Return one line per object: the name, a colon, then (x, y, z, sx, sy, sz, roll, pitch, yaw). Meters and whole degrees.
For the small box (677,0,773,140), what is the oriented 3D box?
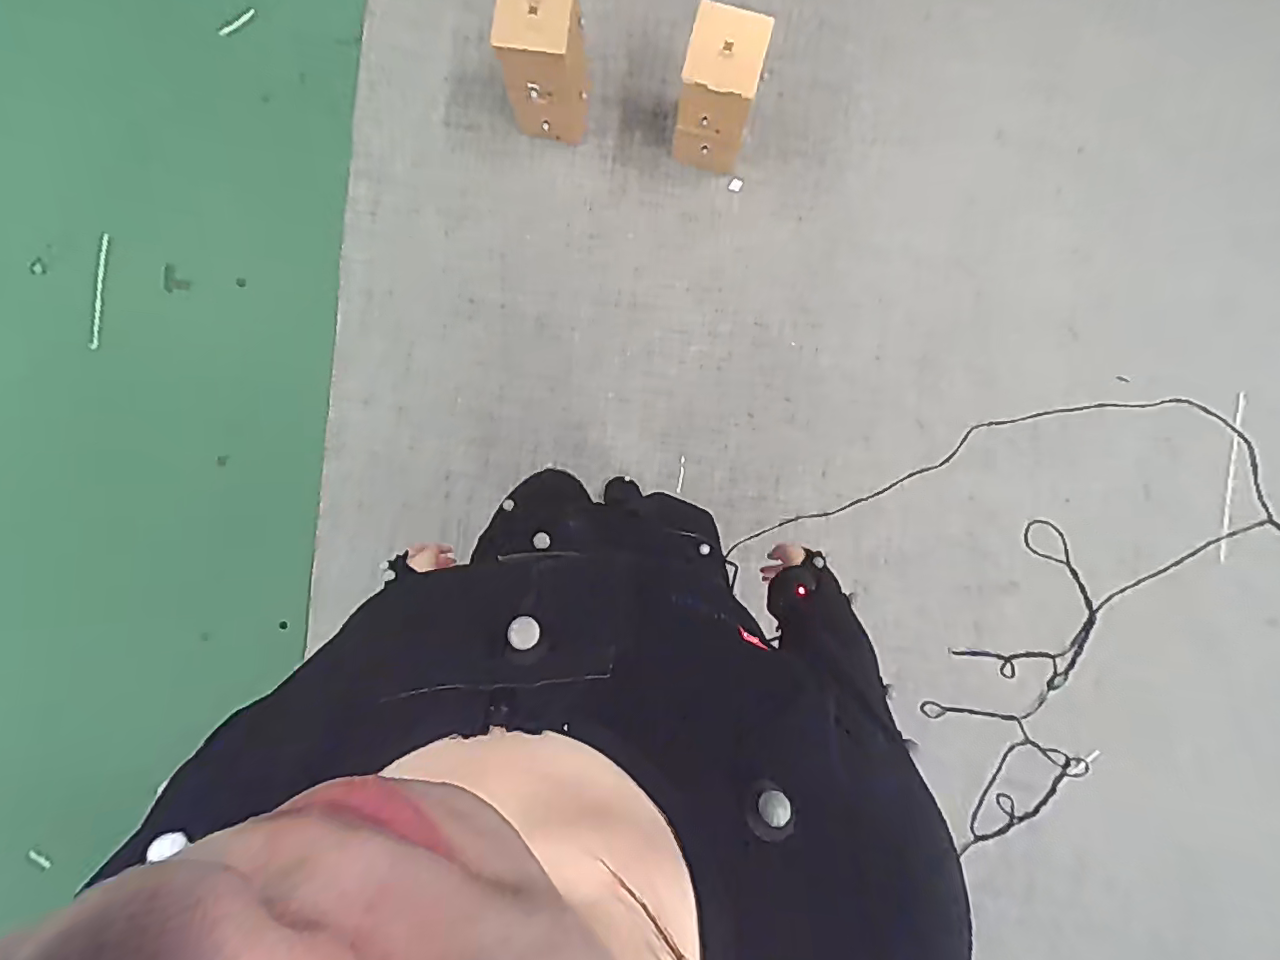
small box: (0.185, -0.927, 1.233, 0.168, 0.176, 0.179, 15, 93, -1)

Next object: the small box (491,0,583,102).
small box: (-0.226, -1.011, 1.229, 0.168, 0.176, 0.179, 8, 93, 1)

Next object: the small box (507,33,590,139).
small box: (-0.228, -1.020, 1.391, 0.168, 0.176, 0.179, 11, 93, -1)
